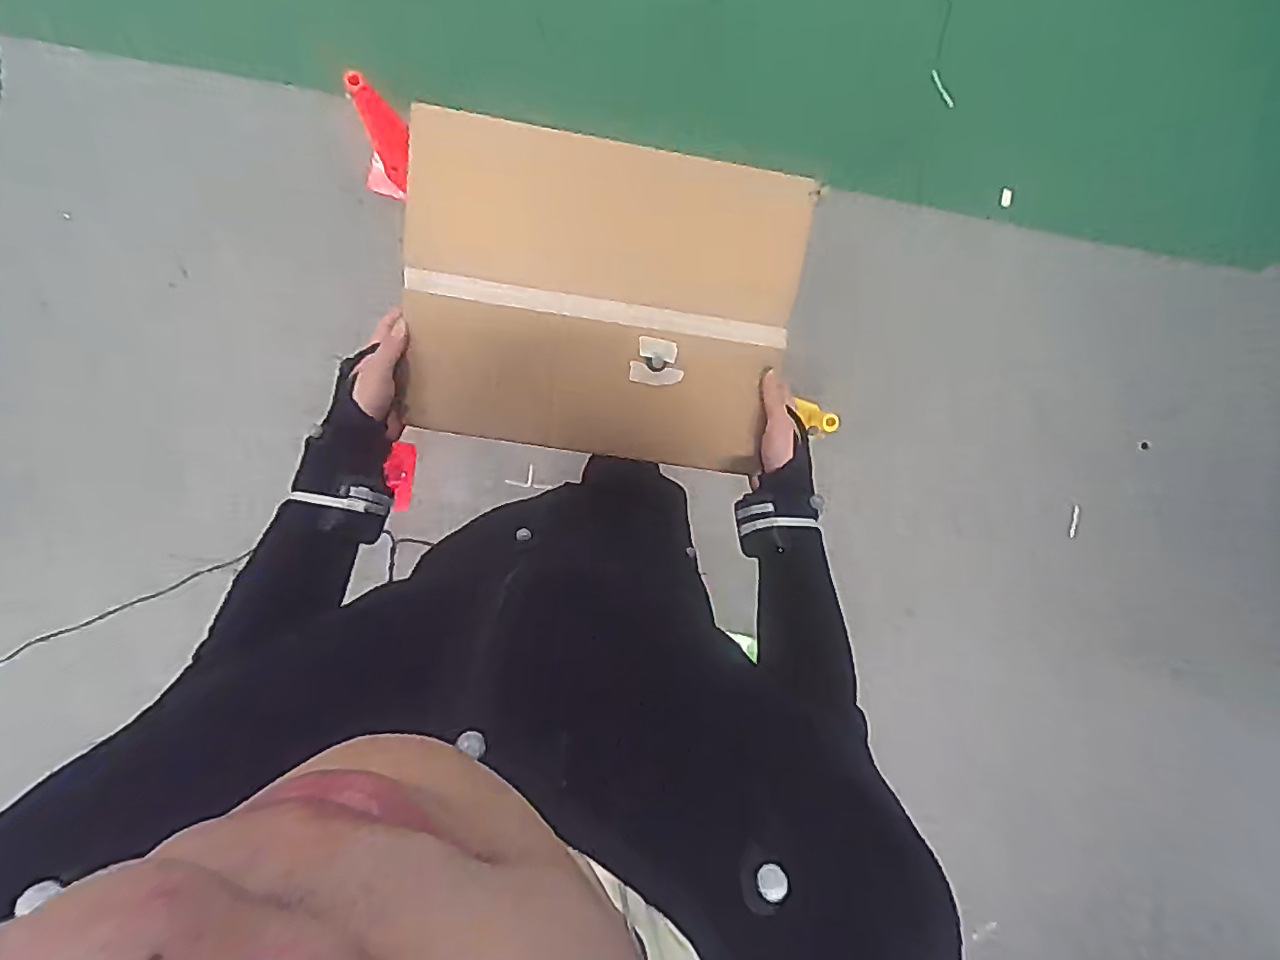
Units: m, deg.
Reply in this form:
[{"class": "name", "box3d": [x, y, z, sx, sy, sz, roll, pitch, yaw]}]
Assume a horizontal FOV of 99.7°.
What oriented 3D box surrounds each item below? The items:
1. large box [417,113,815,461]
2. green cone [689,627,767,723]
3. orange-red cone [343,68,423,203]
[{"class": "large box", "box3d": [-0.044, -0.230, 0.721, 0.408, 0.320, 0.320, 7, 107, -5]}, {"class": "green cone", "box3d": [0.283, 0.579, 1.515, 0.200, 0.368, 0.202, 14, 92, -6]}, {"class": "orange-red cone", "box3d": [-0.630, -0.870, 1.329, 0.199, 0.360, 0.198, 15, 92, -4]}]
